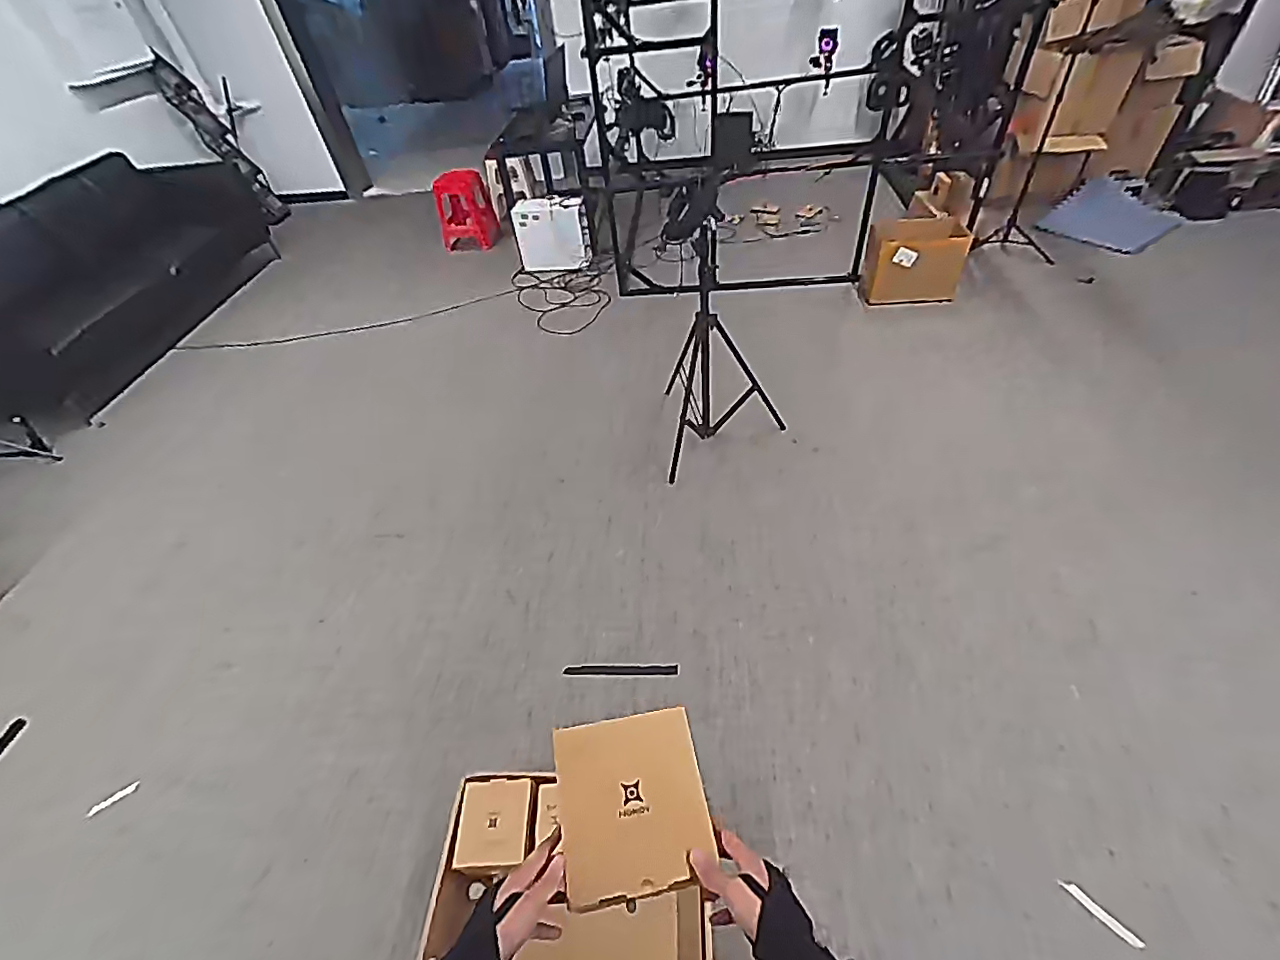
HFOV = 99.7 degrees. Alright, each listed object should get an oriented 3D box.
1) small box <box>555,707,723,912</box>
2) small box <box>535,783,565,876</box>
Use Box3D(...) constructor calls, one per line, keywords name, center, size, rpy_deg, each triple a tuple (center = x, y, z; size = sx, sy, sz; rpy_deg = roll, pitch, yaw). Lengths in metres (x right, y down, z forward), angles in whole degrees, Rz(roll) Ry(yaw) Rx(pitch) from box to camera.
Box3D(name="small box", center=(-0.012, 0.405, 0.664), size=(0.168, 0.176, 0.179), rpy_deg=(-7, 52, -9))
Box3D(name="small box", center=(-0.143, 0.838, 1.298), size=(0.179, 0.176, 0.168), rpy_deg=(-5, 47, 2))
